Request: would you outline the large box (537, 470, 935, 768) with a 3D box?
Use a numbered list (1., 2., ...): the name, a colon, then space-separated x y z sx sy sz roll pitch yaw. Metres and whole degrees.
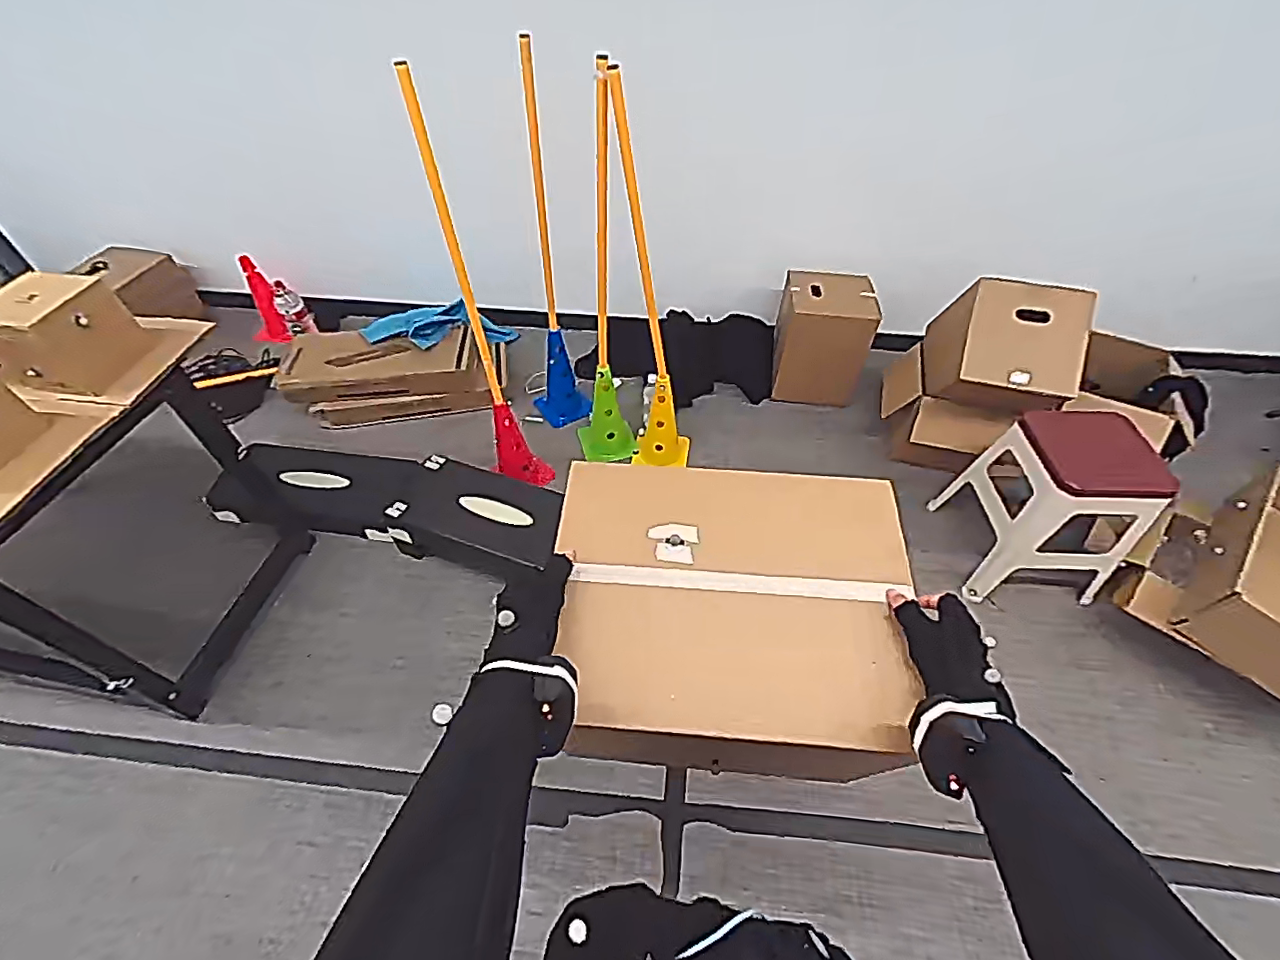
1. large box: 0.107 0.202 0.742 0.408 0.320 0.320 3 56 3
